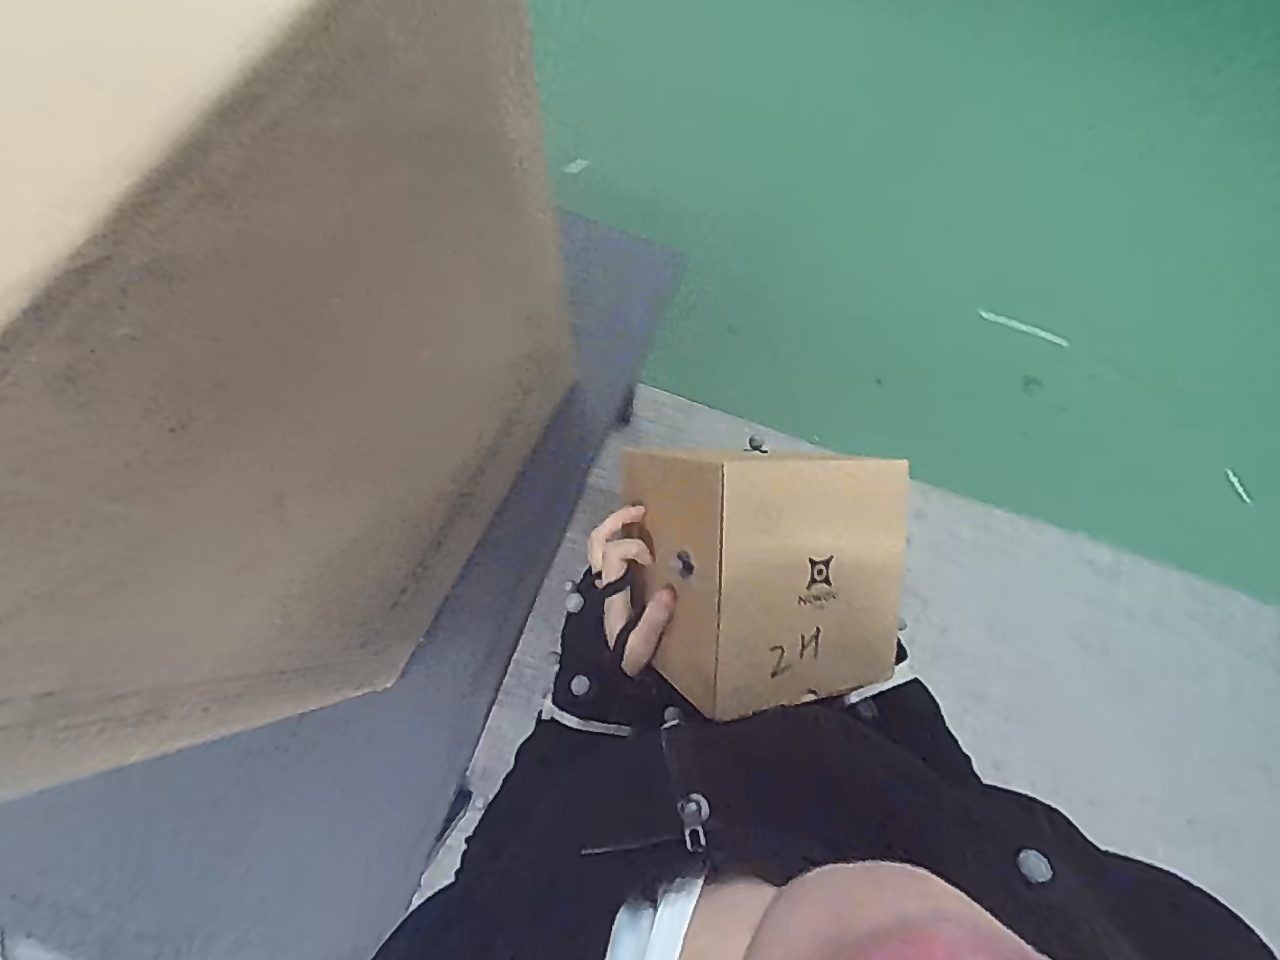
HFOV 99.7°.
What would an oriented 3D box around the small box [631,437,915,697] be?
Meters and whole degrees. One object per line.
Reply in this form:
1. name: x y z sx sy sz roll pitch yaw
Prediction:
1. small box: 0.100 0.055 0.460 0.168 0.176 0.179 1 94 -24
